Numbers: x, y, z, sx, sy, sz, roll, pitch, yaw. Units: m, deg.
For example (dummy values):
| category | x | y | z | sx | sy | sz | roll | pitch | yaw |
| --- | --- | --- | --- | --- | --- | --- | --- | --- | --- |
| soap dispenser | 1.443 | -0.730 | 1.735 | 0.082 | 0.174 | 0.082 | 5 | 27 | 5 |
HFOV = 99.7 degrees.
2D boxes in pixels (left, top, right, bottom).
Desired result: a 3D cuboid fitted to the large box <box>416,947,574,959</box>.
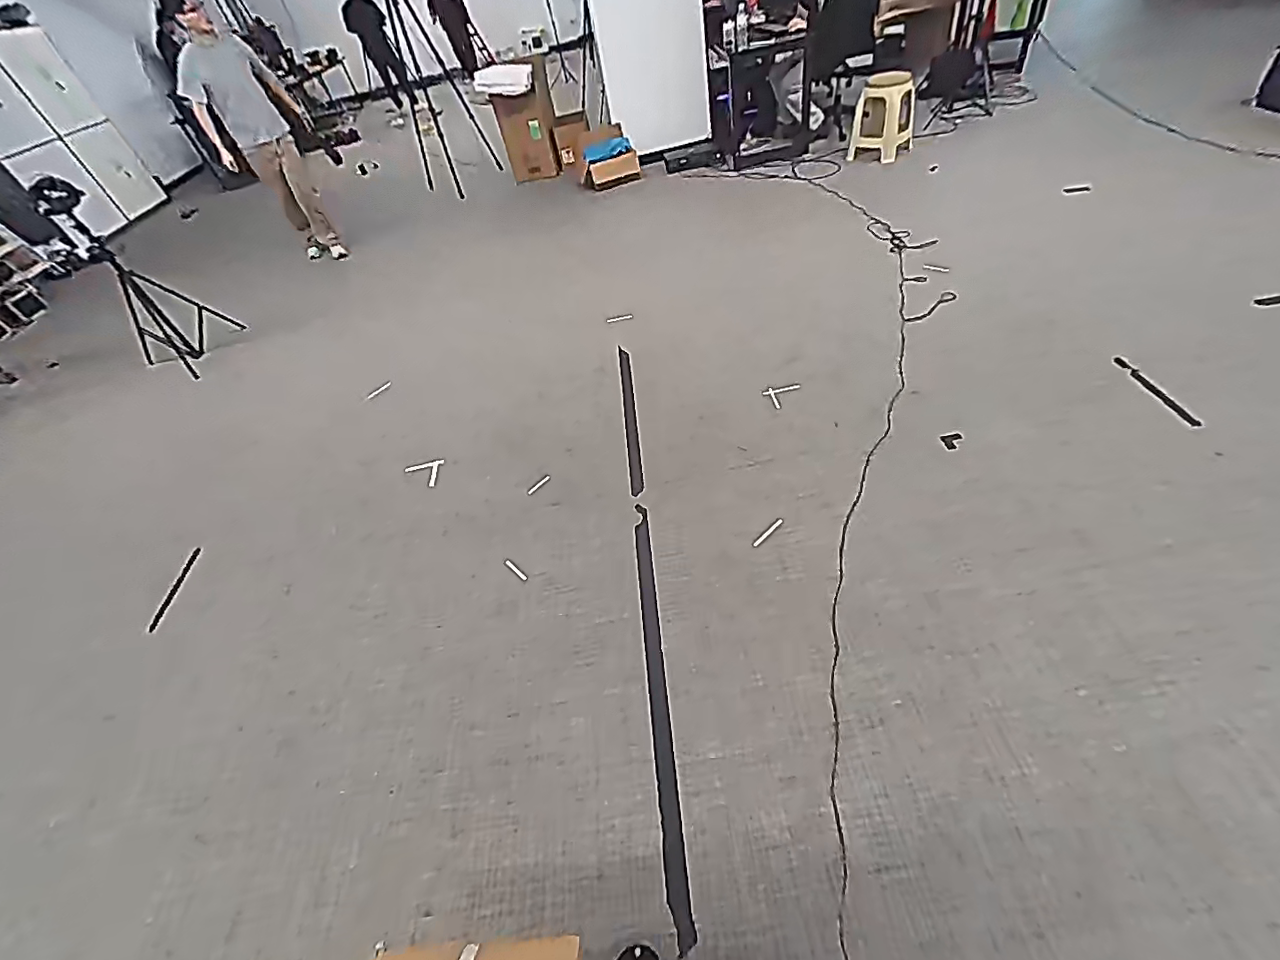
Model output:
| category | x | y | z | sx | sy | sz | roll | pitch | yaw |
| --- | --- | --- | --- | --- | --- | --- | --- | --- | --- |
| large box | -0.234 | 0.845 | 0.592 | 0.320 | 0.408 | 0.320 | -6 | 89 | 2 |
